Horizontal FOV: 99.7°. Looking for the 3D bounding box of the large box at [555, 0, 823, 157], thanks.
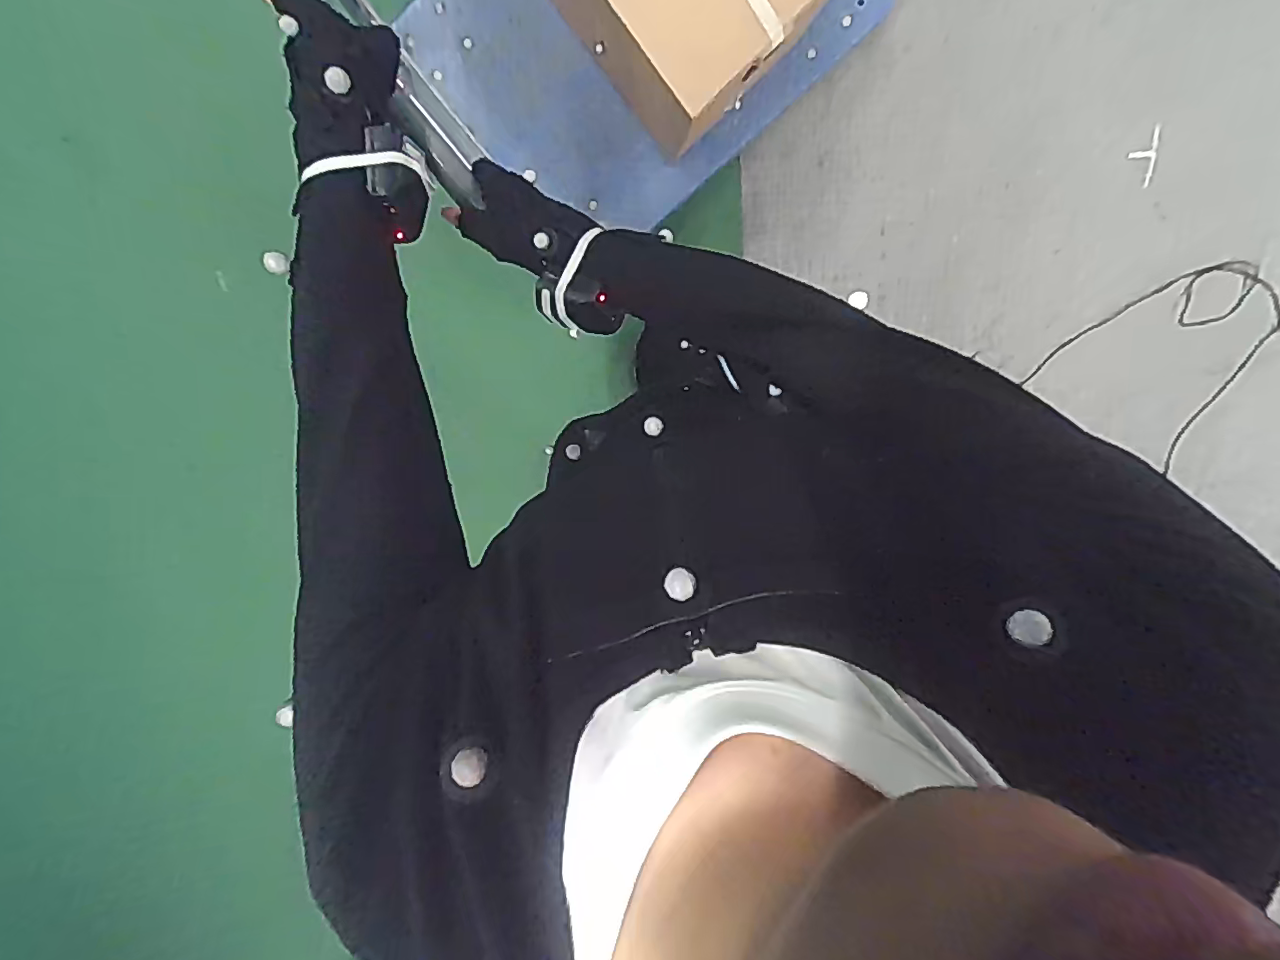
[{"bbox_3d":[0.060,-0.831,0.873,0.320,0.320,0.408,-40,106,10],"label":"large box"}]
